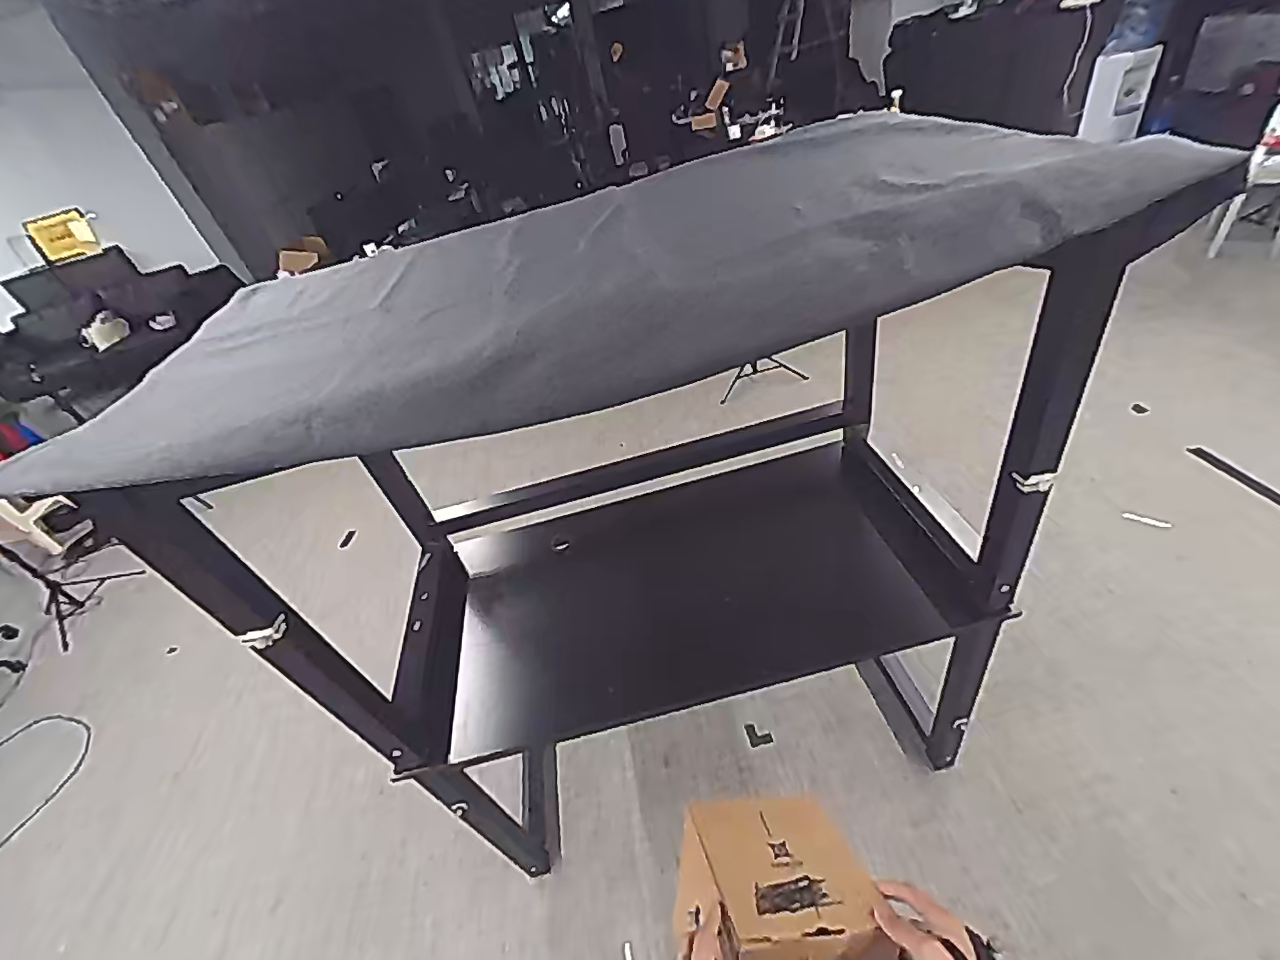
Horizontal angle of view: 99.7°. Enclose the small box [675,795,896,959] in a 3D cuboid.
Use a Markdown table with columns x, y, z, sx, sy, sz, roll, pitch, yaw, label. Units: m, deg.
| x | y | z | sx | sy | sz | roll | pitch | yaw | label |
| --- | --- | --- | --- | --- | --- | --- | --- | --- | --- |
| 0.140 | 0.479 | 0.578 | 0.168 | 0.176 | 0.179 | 2 | 7 | -12 | small box |
